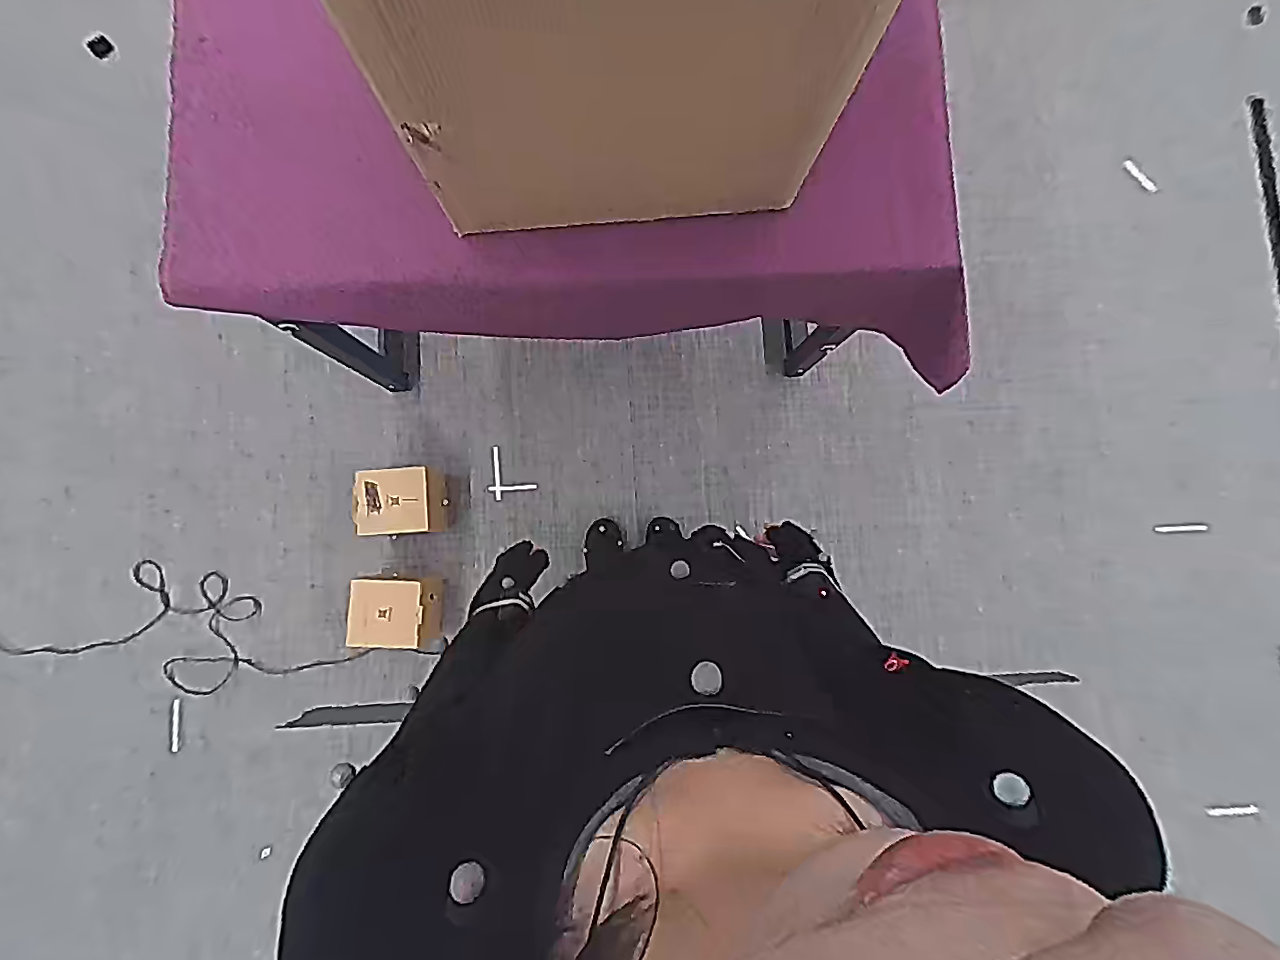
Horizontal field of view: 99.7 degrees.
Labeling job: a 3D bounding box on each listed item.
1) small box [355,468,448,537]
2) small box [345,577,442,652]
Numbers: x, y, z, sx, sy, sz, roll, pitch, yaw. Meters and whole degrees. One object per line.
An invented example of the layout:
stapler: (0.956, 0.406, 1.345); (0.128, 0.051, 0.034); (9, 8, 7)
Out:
small box: (-0.620, 0.063, 1.420); (0.179, 0.176, 0.168); (-4, 85, -3)
small box: (-0.628, 0.341, 1.400); (0.179, 0.176, 0.168); (2, 84, -1)
